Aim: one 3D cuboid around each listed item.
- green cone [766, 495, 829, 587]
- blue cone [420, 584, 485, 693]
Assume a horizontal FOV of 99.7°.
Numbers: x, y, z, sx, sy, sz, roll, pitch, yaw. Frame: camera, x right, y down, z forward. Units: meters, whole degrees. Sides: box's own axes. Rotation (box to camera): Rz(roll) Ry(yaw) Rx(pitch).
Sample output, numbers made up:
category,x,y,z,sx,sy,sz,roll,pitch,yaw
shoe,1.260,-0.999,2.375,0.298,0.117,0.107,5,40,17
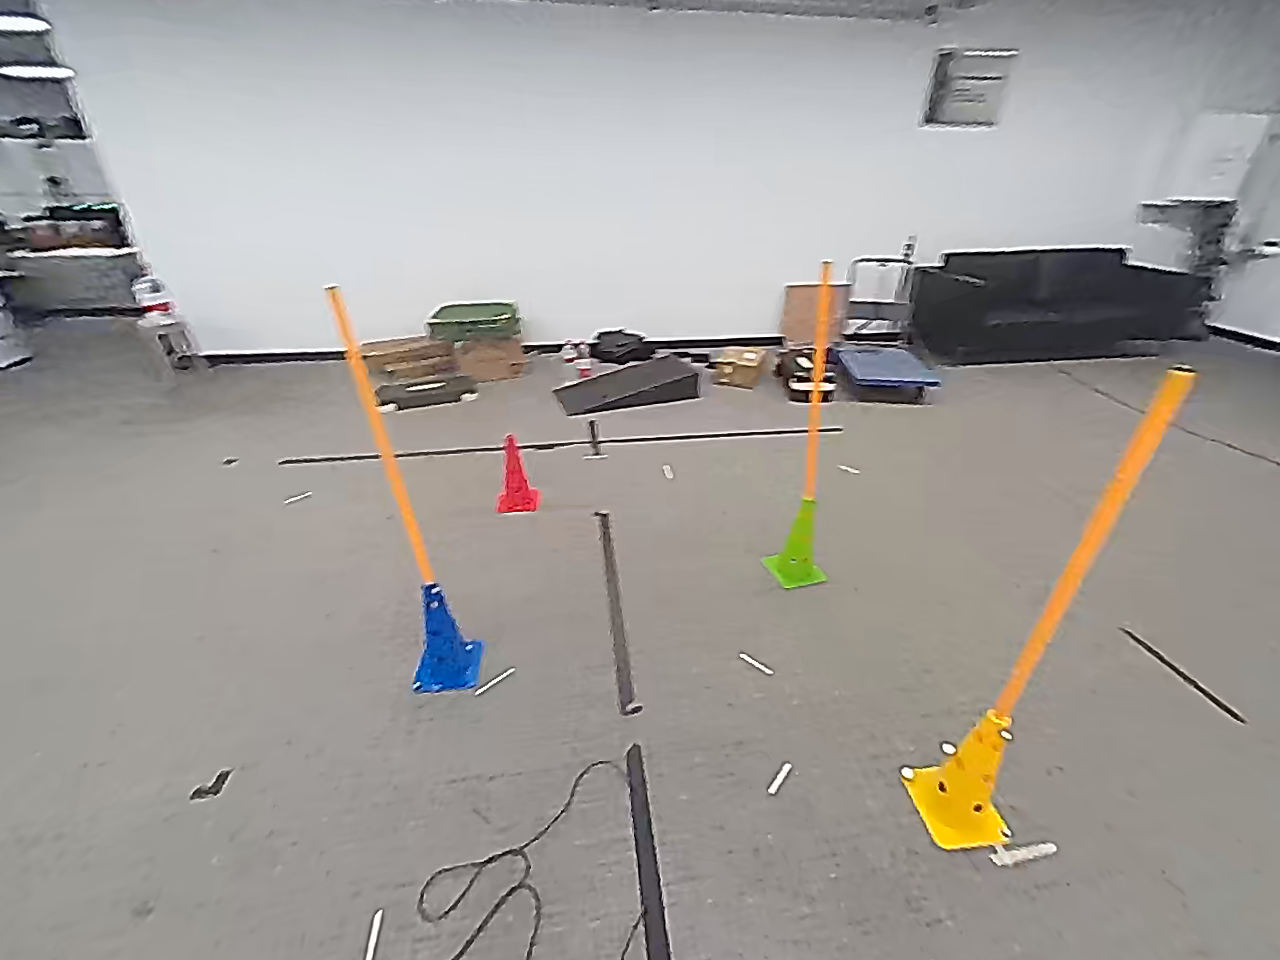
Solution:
category,x,y,z,sx,sy,sz,roll,pitch,yaw
green cone,0.650,0.217,2.147,0.200,0.368,0.202,-9,33,-16
blue cone,-0.614,0.476,1.702,0.193,0.380,0.192,-2,30,-4
